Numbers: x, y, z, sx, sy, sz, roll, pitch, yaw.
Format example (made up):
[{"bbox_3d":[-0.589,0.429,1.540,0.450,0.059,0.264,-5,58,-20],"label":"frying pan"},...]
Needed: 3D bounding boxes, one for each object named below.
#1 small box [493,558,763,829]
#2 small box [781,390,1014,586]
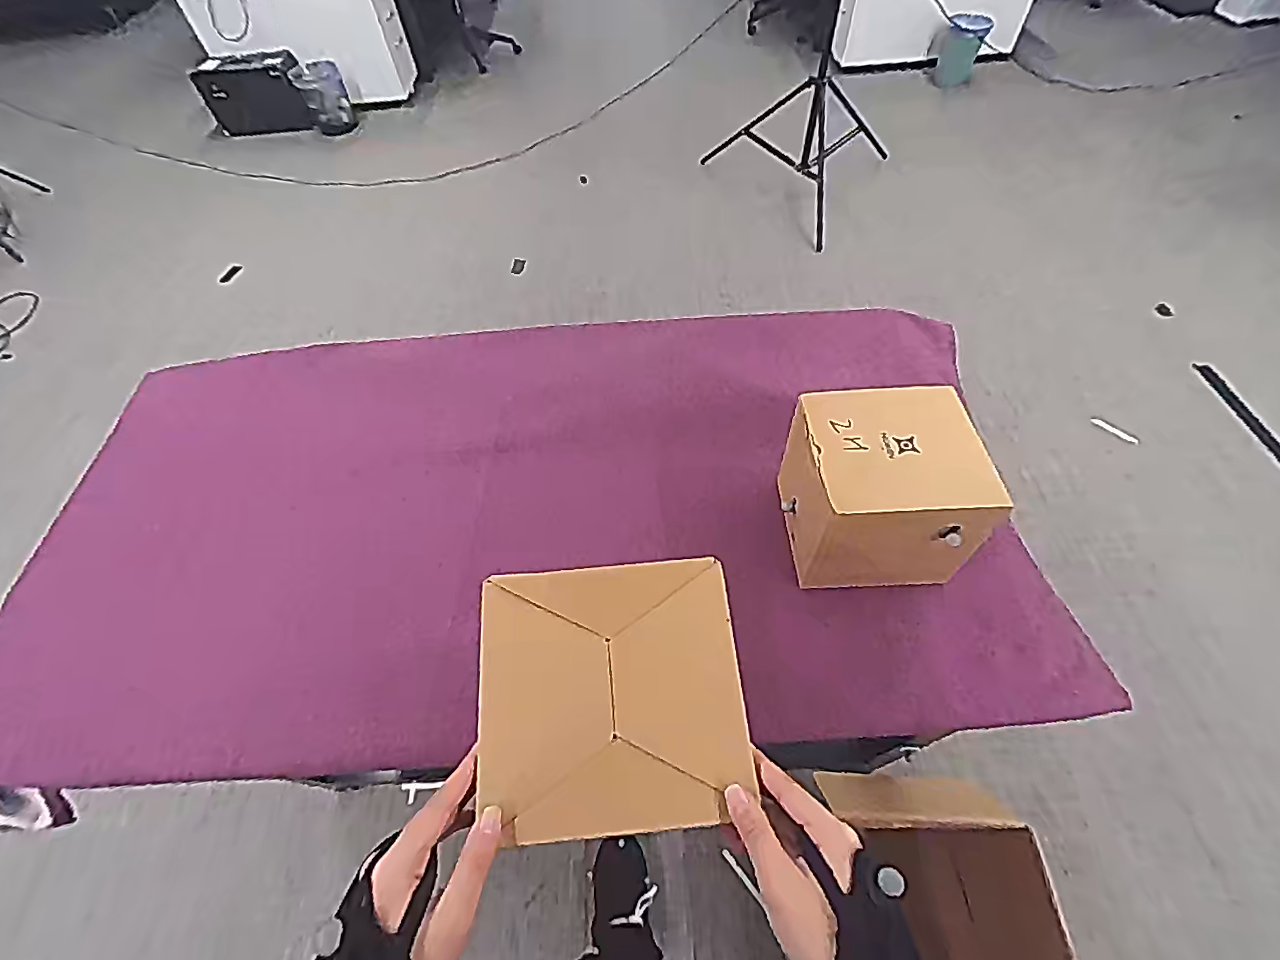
[{"bbox_3d":[-0.018,0.170,0.435,0.179,0.176,0.168,-4,63,-4],"label":"small box"},{"bbox_3d":[0.277,0.014,0.632,0.179,0.176,0.168,-3,53,2],"label":"small box"}]
